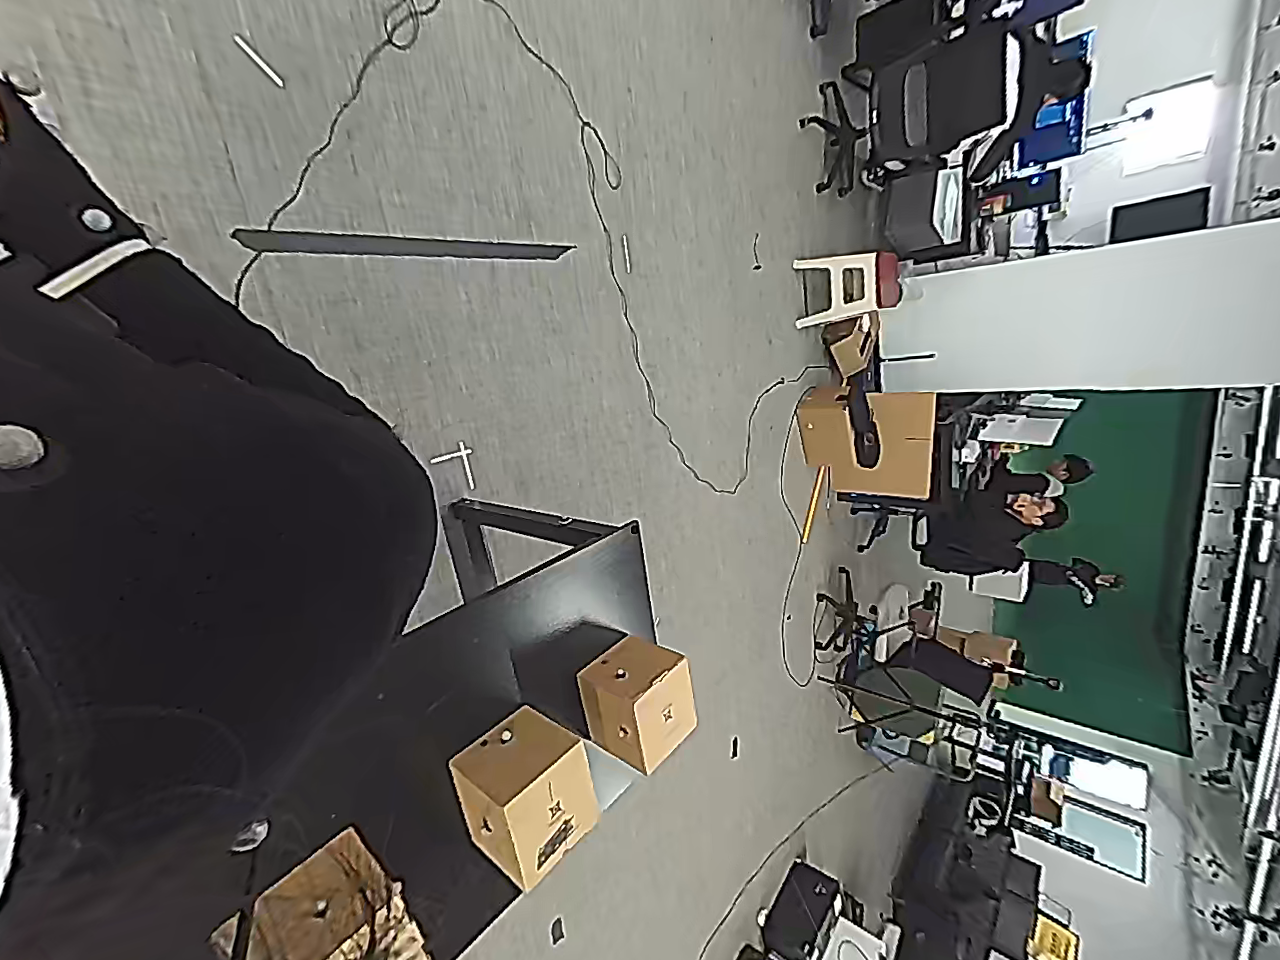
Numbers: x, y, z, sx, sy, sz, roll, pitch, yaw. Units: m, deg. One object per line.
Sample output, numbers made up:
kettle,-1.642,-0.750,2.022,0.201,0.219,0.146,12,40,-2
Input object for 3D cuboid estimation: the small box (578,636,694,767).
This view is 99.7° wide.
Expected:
small box,-0.011,0.450,1.137,0.168,0.176,0.179,-26,114,-42

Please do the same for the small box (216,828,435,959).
small box,-0.410,0.615,0.713,0.179,0.176,0.168,-30,116,-43

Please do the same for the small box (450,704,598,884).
small box,-0.200,0.527,0.935,0.168,0.176,0.179,-25,112,-44
